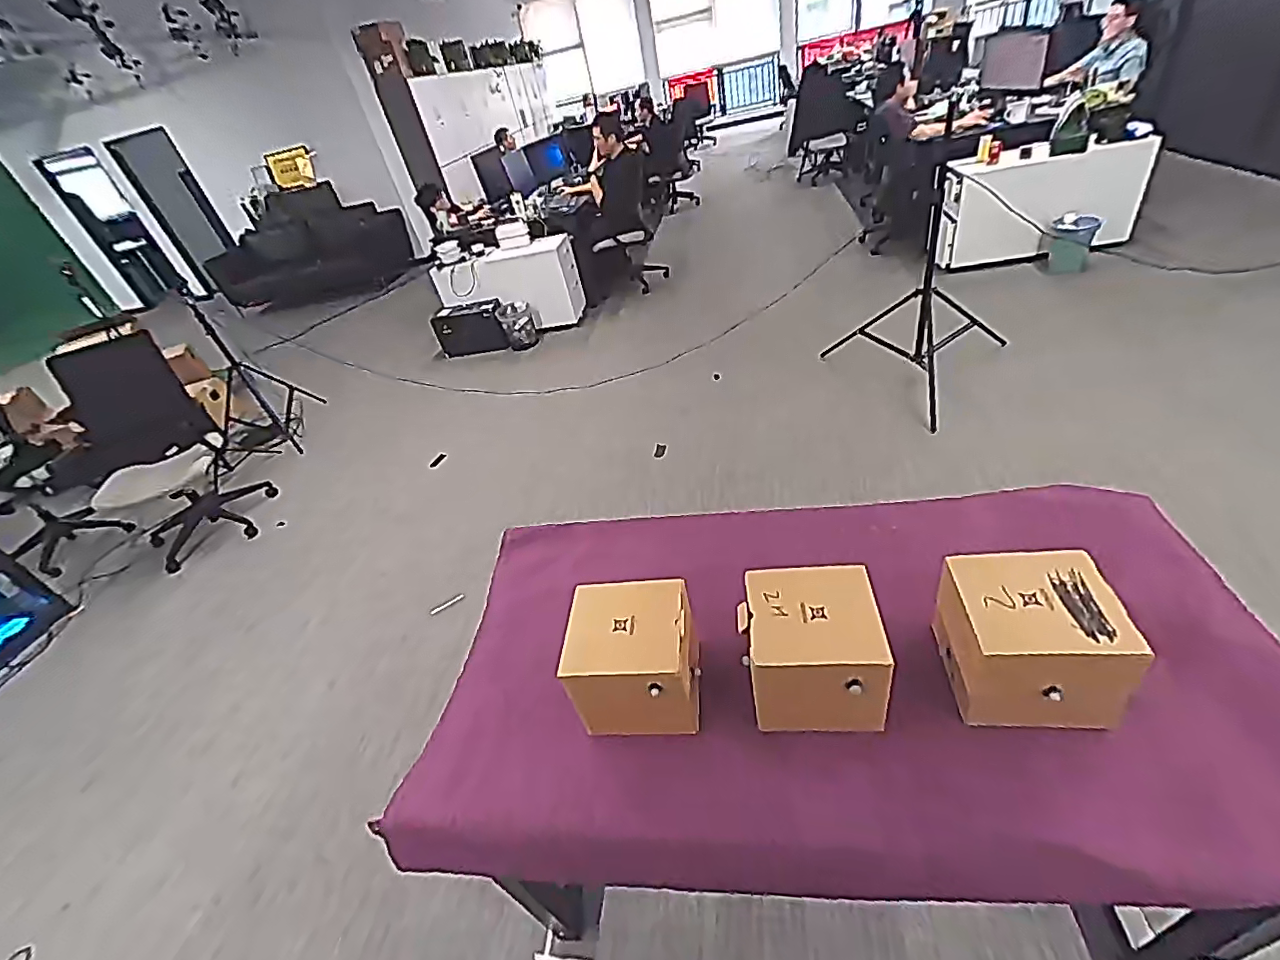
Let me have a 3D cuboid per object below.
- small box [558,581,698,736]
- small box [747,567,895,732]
[{"bbox_3d":[-0.007,0.279,0.840,0.179,0.176,0.168,-6,37,10],"label":"small box"},{"bbox_3d":[0.253,0.249,0.790,0.179,0.176,0.168,-6,37,12],"label":"small box"}]
